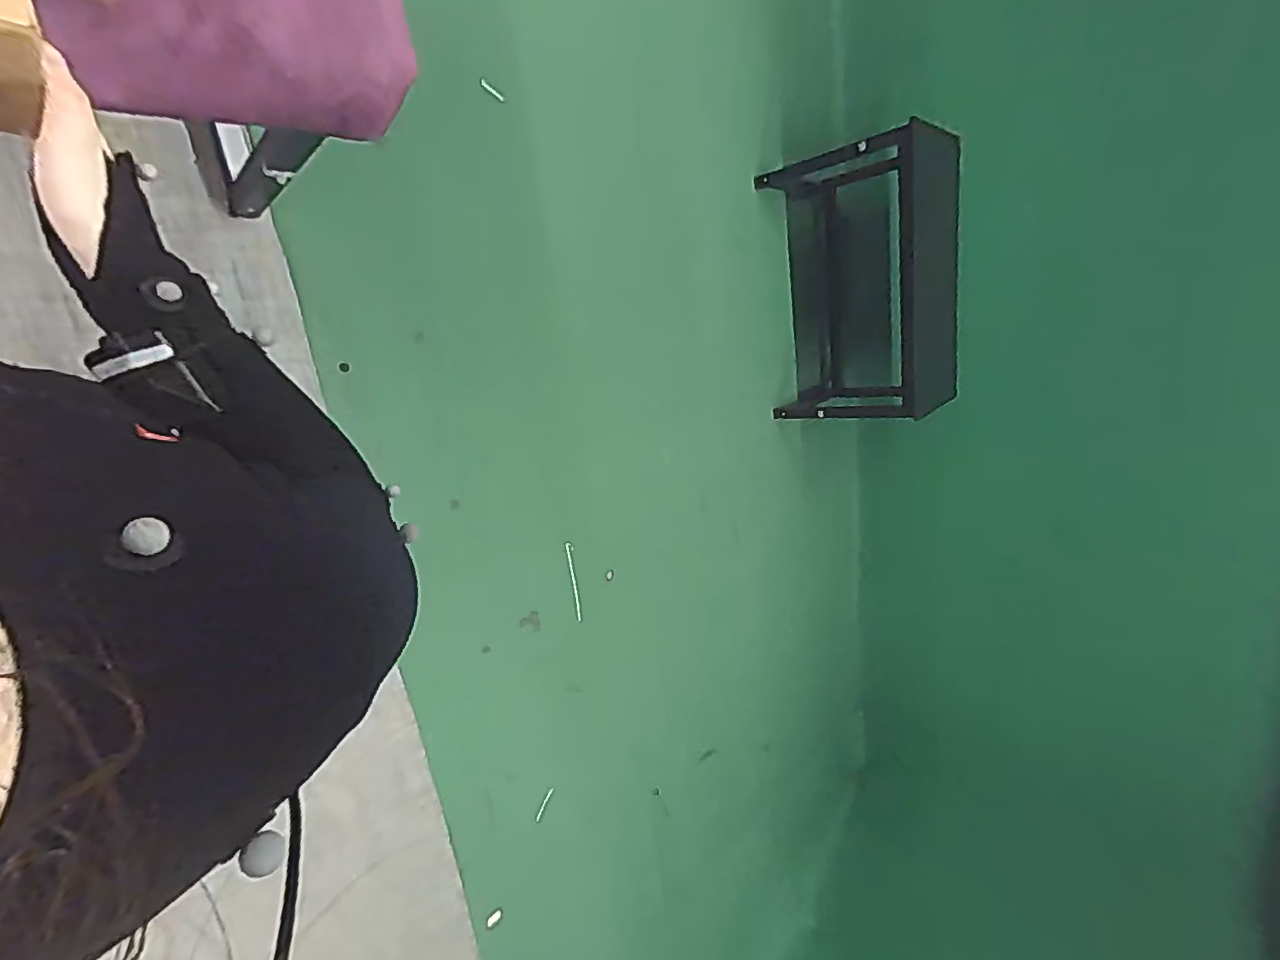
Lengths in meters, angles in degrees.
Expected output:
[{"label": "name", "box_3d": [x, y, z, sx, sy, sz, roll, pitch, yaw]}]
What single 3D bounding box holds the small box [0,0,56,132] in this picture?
[{"label": "small box", "box_3d": [-0.407, -0.299, 0.247, 0.168, 0.176, 0.179, -14, 108, -44]}]
